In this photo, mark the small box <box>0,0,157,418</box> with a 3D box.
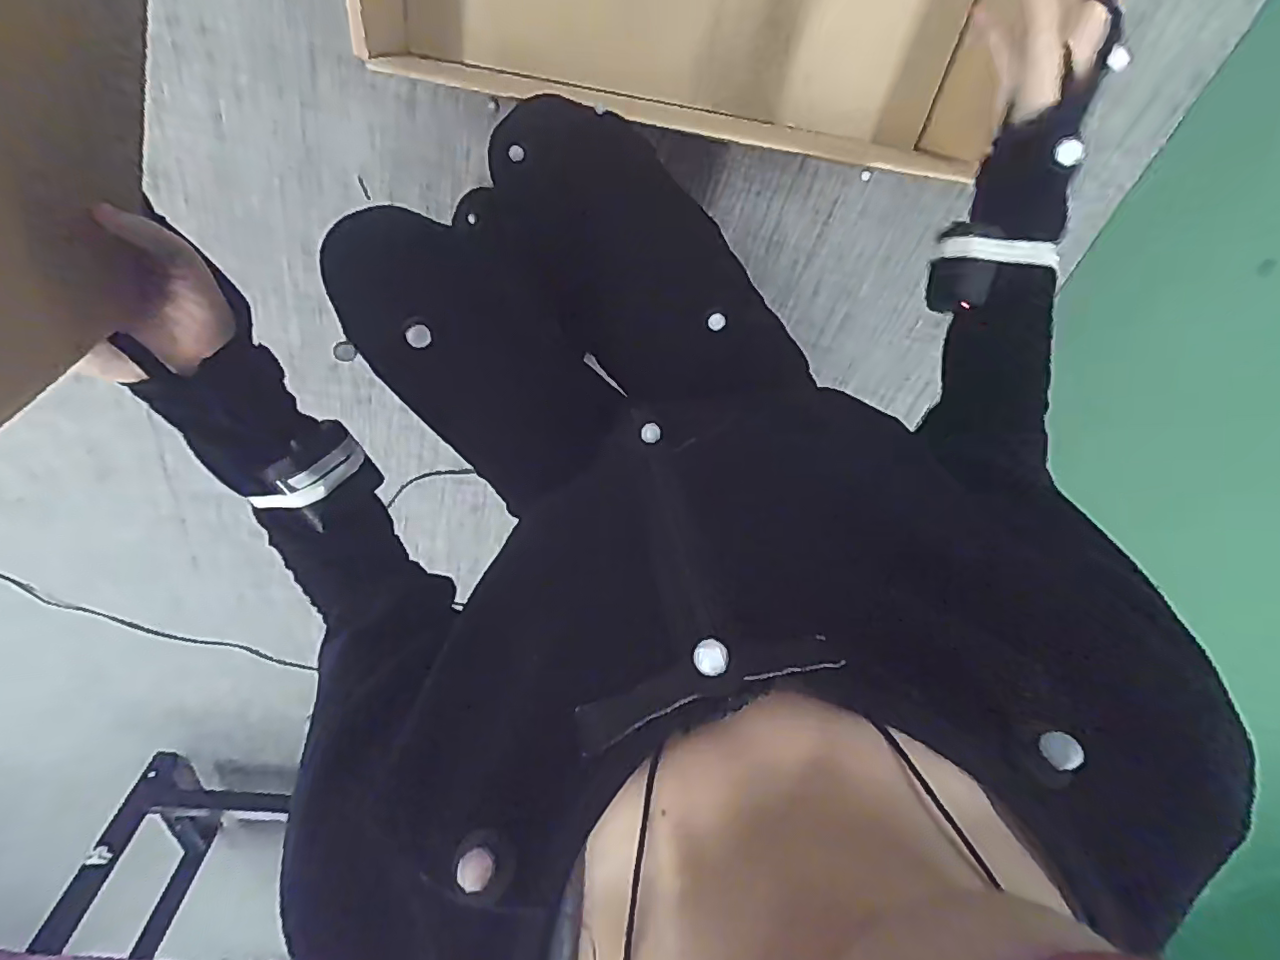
[{"bbox_3d":[-0.290,-0.121,0.169,0.168,0.176,0.179,16,121,-27],"label":"small box"}]
